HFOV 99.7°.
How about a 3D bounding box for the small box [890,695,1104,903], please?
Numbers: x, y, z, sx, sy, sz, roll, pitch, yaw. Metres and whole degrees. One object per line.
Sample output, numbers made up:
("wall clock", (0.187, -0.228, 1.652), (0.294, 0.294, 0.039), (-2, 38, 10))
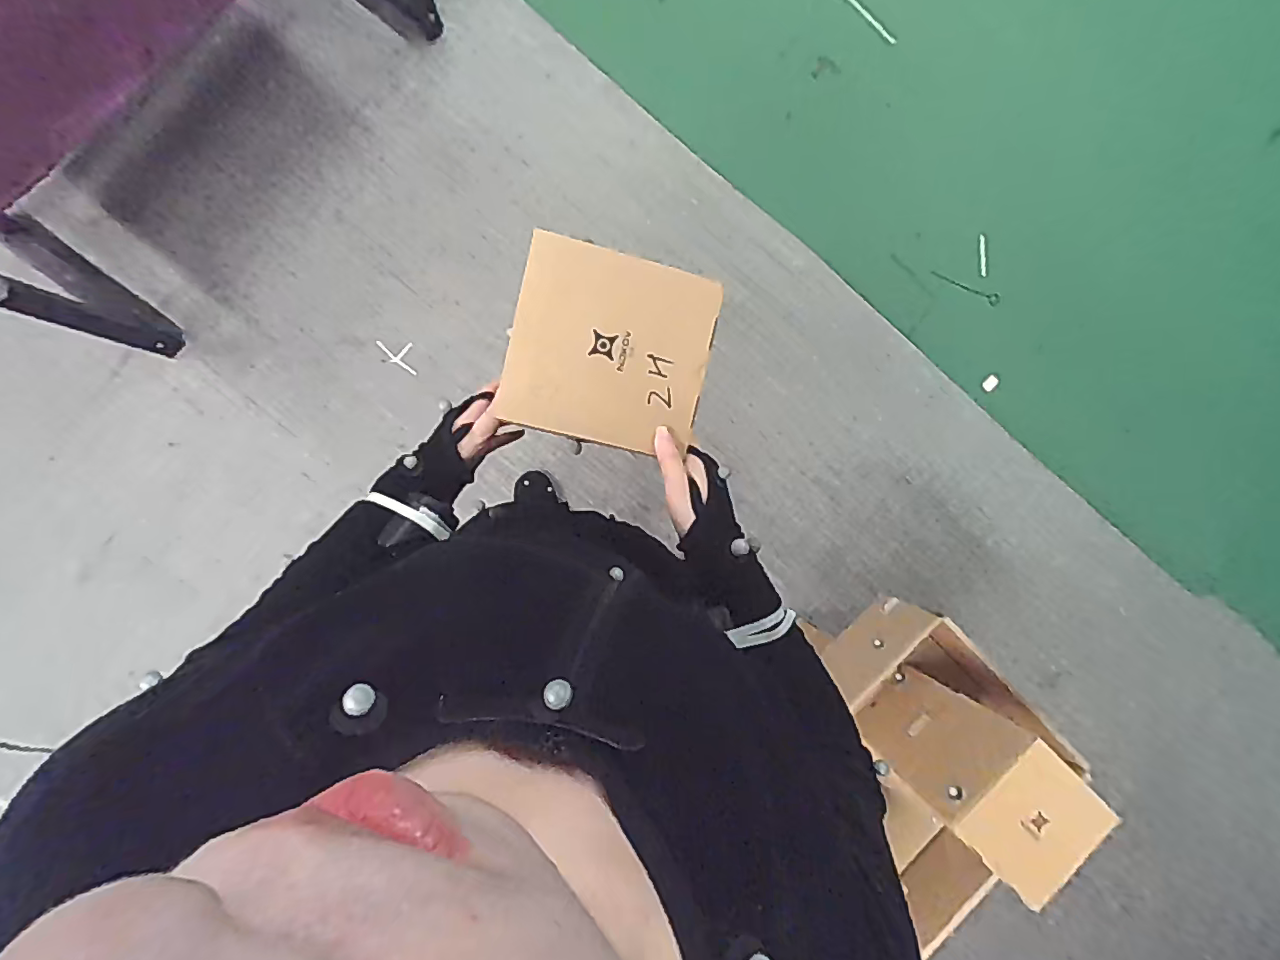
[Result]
("small box", (0.527, 0.467, 0.825), (0.179, 0.176, 0.168), (-45, 92, -2))

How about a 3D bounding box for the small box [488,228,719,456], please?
("small box", (-0.042, -0.124, 0.555), (0.179, 0.176, 0.168), (13, 93, -10))
